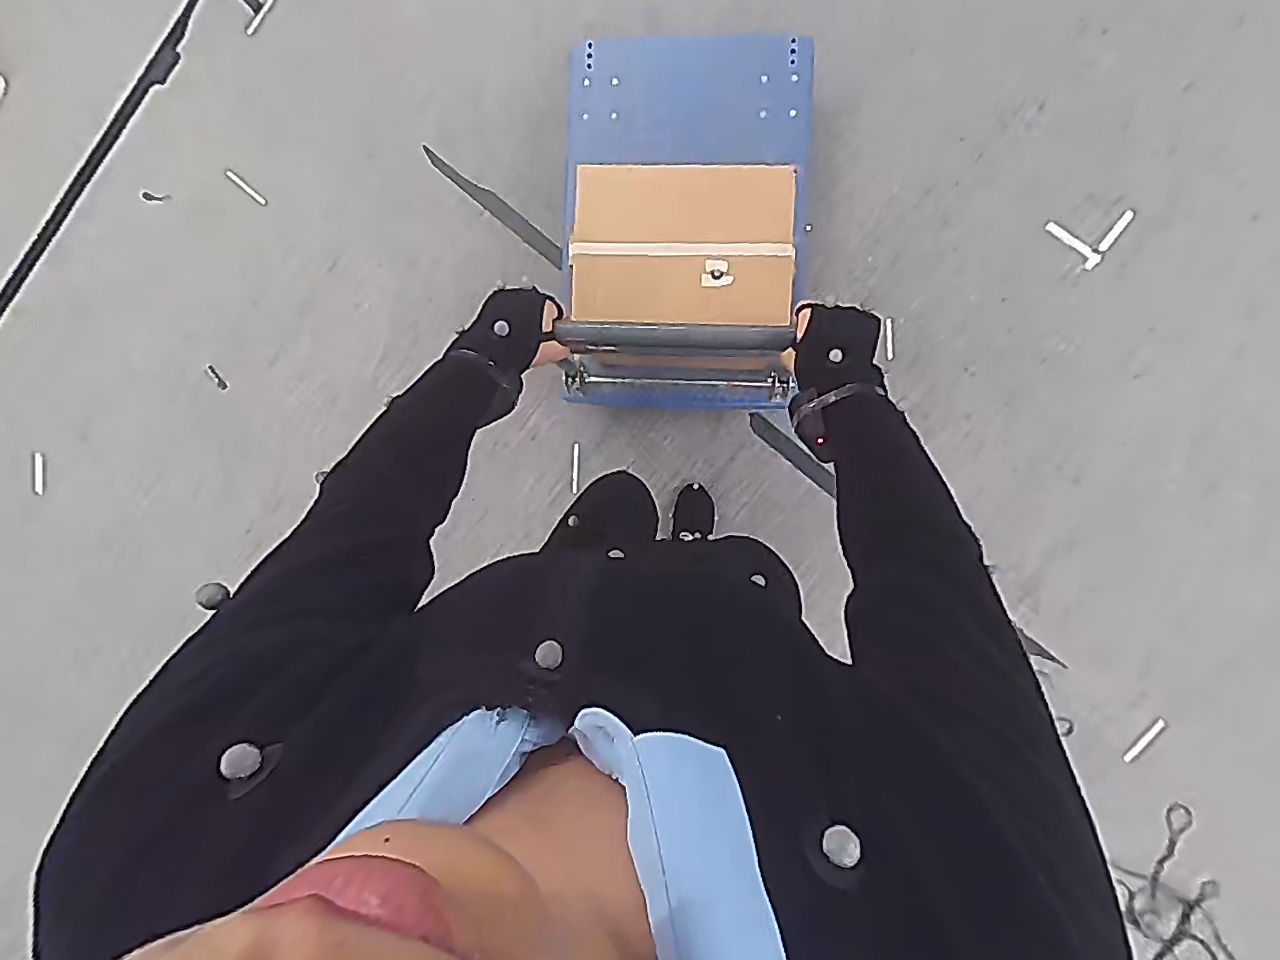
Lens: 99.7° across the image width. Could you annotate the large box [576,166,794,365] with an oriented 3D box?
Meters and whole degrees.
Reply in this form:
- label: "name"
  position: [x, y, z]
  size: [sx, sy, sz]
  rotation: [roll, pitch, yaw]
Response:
- label: "large box"
  position: [0.086, -0.428, 1.148]
  size: [0.408, 0.320, 0.320]
  rotation: [2, 92, 3]
